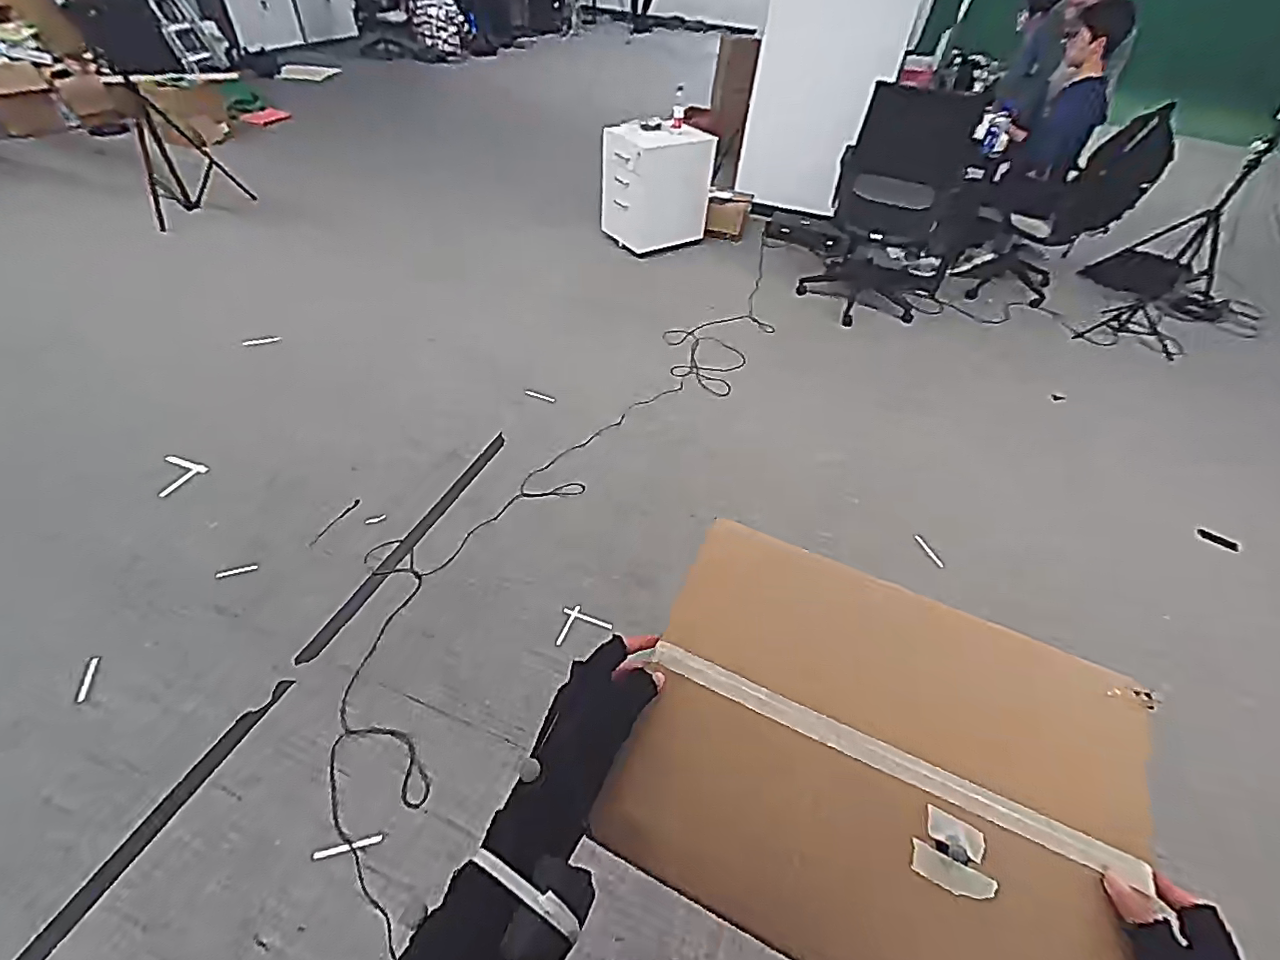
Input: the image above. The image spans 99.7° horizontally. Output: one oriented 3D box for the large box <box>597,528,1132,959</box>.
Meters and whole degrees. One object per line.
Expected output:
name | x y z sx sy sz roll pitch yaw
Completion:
large box | 0.205 0.313 0.598 0.408 0.320 0.320 22 62 14
